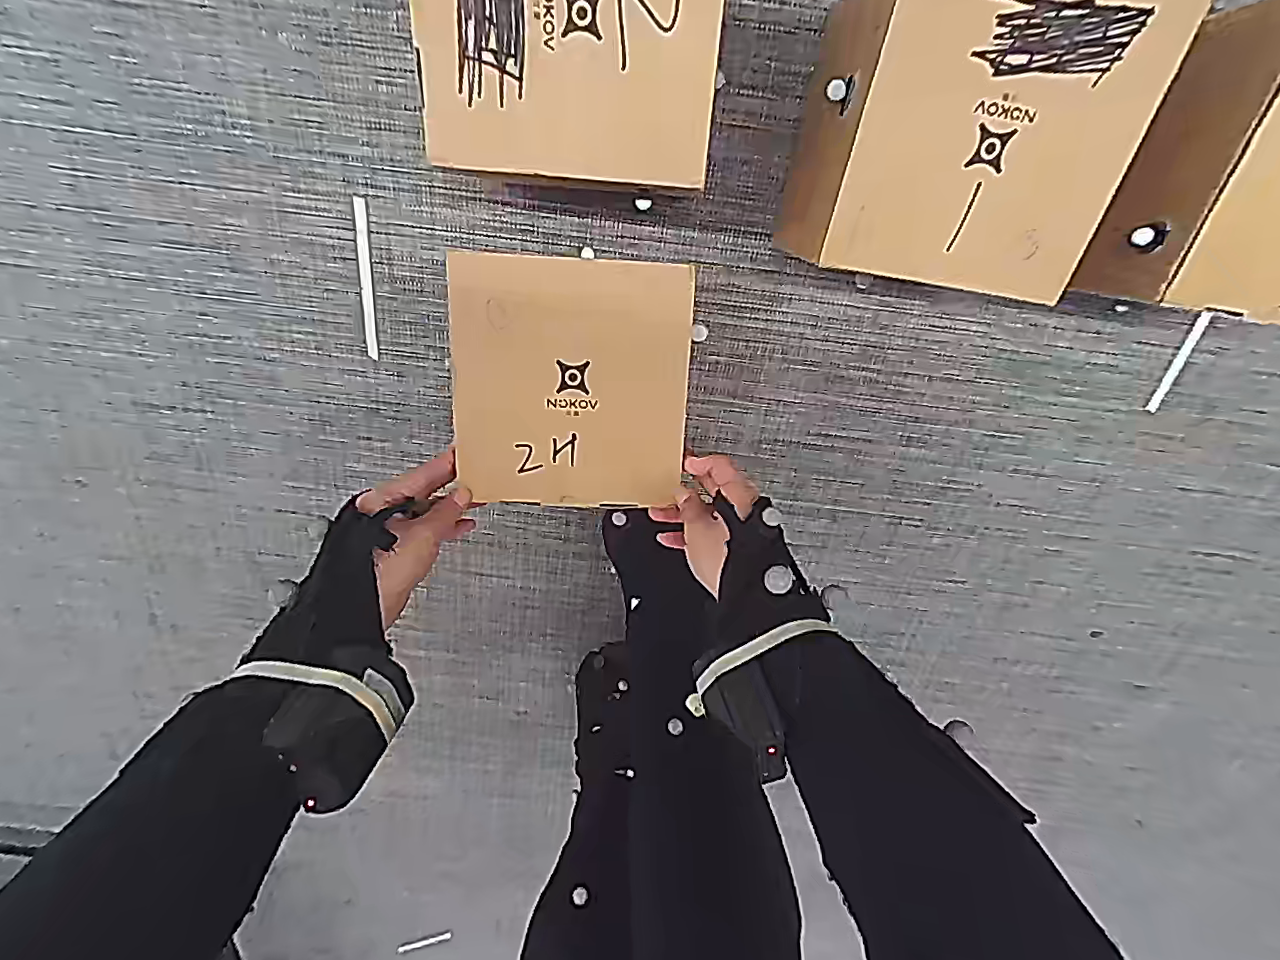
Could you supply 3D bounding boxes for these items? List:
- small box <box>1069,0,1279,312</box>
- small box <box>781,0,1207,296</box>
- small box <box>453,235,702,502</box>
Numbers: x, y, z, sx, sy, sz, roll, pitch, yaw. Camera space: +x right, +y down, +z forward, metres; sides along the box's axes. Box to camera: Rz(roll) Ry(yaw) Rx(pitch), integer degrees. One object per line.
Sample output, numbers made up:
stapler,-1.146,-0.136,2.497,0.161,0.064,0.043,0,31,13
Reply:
small box,0.439,-0.226,0.394,0.168,0.176,0.179,7,117,-2
small box,0.213,-0.246,0.386,0.168,0.176,0.179,9,117,-3
small box,-0.049,-0.093,0.450,0.168,0.176,0.179,2,107,-3
